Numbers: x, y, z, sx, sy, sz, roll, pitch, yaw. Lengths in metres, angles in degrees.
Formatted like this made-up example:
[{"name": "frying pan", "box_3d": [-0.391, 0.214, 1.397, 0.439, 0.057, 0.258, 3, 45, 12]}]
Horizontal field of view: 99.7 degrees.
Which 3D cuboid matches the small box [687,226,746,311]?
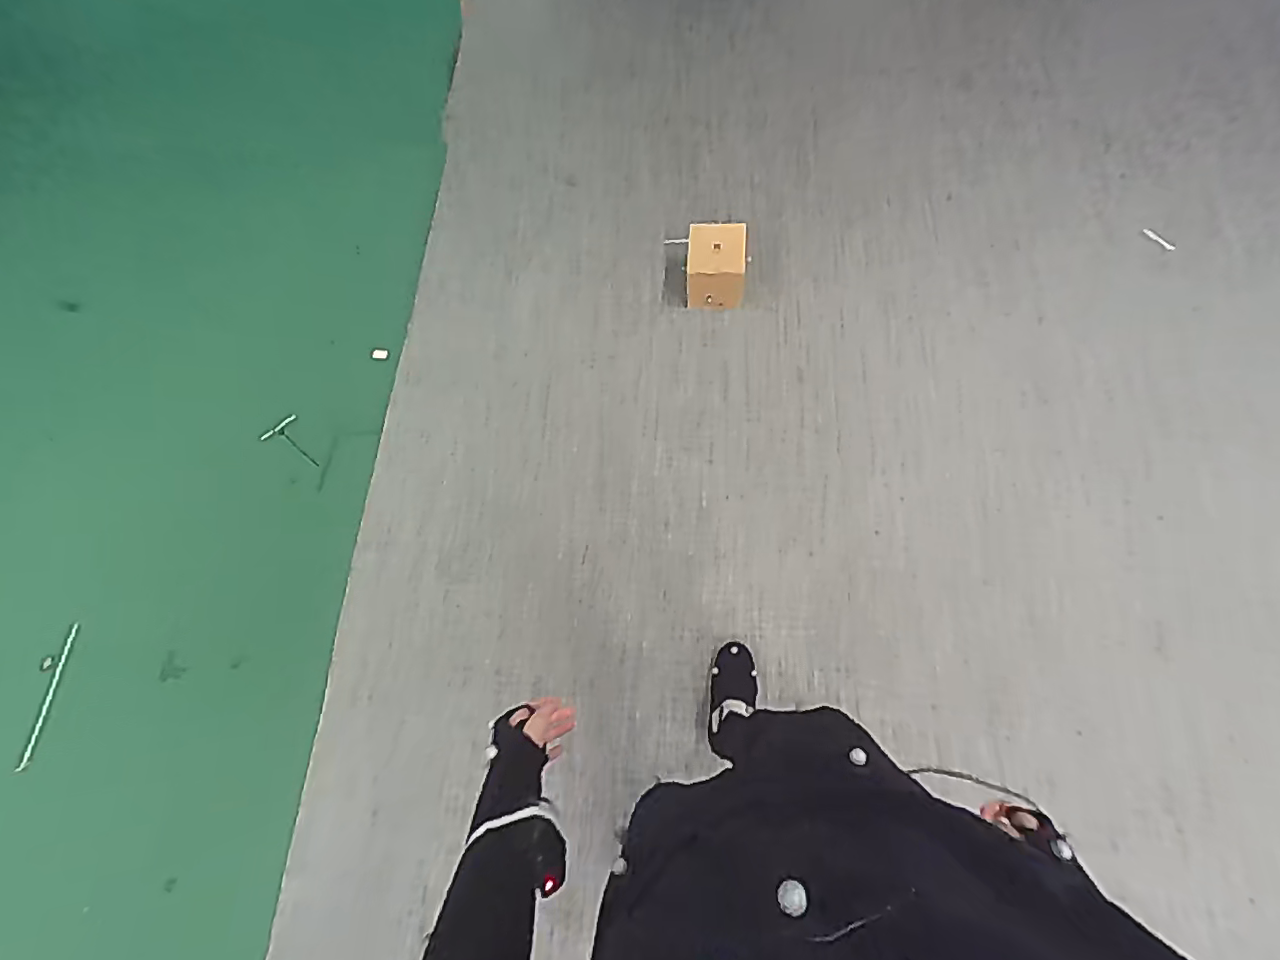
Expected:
[{"name": "small box", "box_3d": [0.226, -0.631, 1.620, 0.168, 0.176, 0.179, 2, 72, 7]}]
